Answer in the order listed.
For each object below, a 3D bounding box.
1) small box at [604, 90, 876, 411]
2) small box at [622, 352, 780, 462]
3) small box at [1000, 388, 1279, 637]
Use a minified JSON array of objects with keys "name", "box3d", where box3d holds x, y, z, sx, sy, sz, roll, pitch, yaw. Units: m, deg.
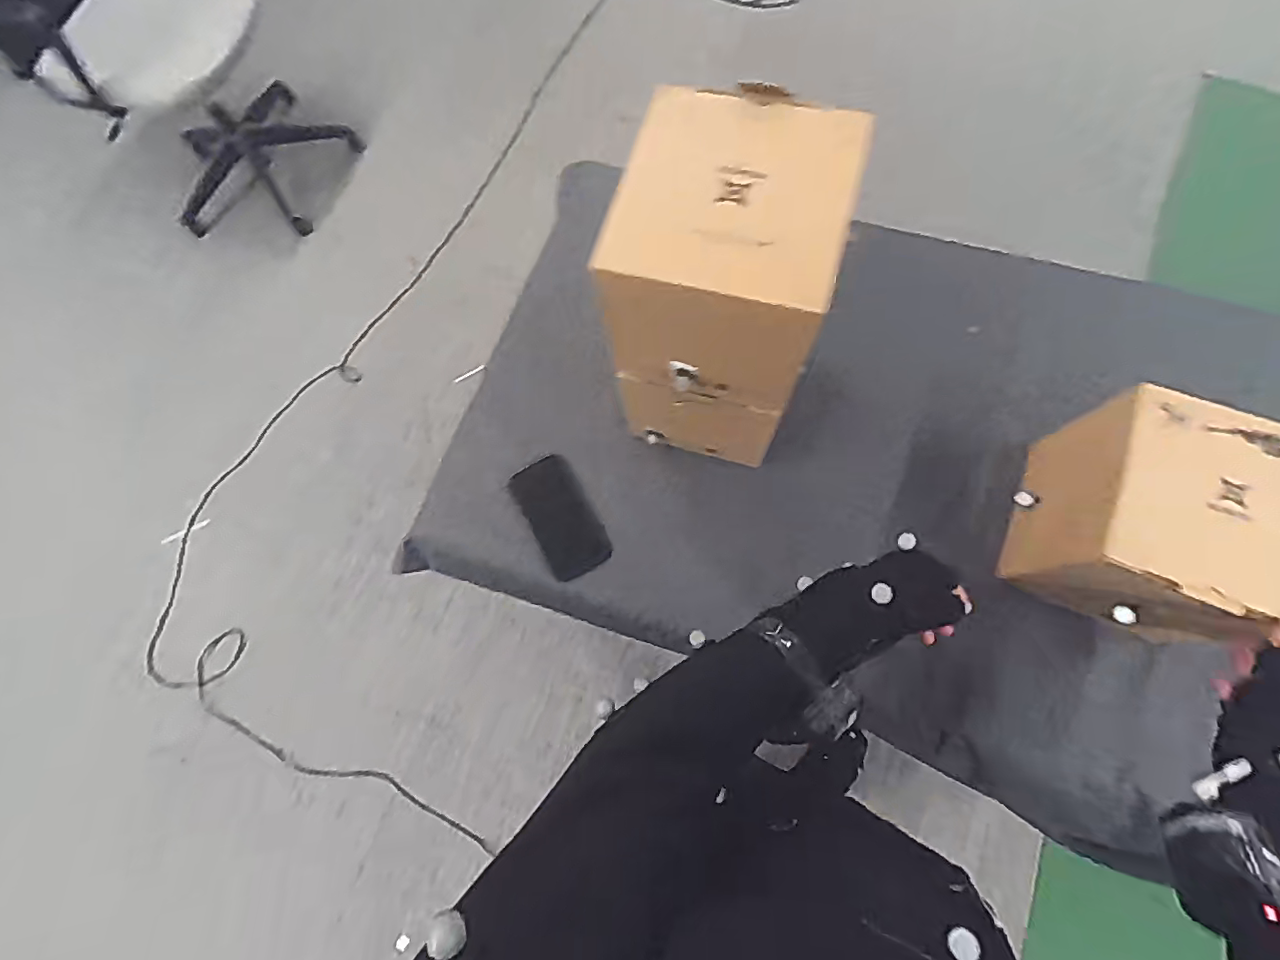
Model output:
[{"name":"small box","box3d":[0.081,-0.184,0.469,0.168,0.176,0.179,15,77,10]},{"name":"small box","box3d":[0.090,-0.138,0.624,0.168,0.176,0.179,16,75,9]},{"name":"small box","box3d":[0.499,0.043,0.536,0.168,0.176,0.179,23,77,10]}]
